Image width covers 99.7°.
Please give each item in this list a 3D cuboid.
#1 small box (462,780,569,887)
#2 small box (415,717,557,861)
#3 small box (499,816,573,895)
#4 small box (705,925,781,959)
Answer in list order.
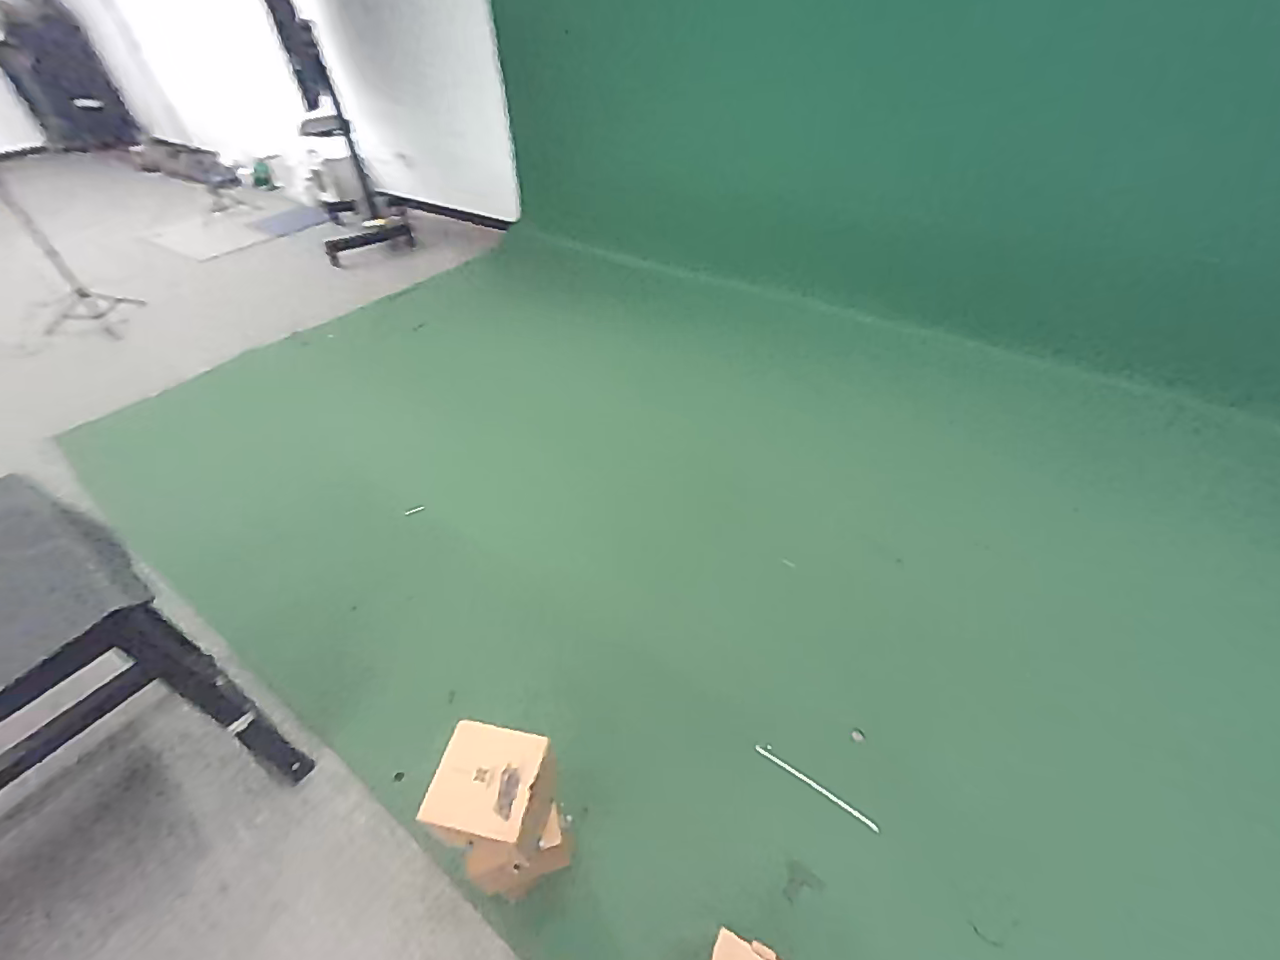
[{"bbox_3d":[-0.248,0.675,1.073,0.179,0.176,0.168,-13,46,-12],"label":"small box"},{"bbox_3d":[-0.259,0.553,0.963,0.179,0.176,0.168,8,45,11],"label":"small box"},{"bbox_3d":[-0.266,0.776,1.202,0.179,0.176,0.168,-29,51,-26],"label":"small box"},{"bbox_3d":[0.185,0.968,0.986,0.168,0.176,0.179,18,46,19],"label":"small box"}]
